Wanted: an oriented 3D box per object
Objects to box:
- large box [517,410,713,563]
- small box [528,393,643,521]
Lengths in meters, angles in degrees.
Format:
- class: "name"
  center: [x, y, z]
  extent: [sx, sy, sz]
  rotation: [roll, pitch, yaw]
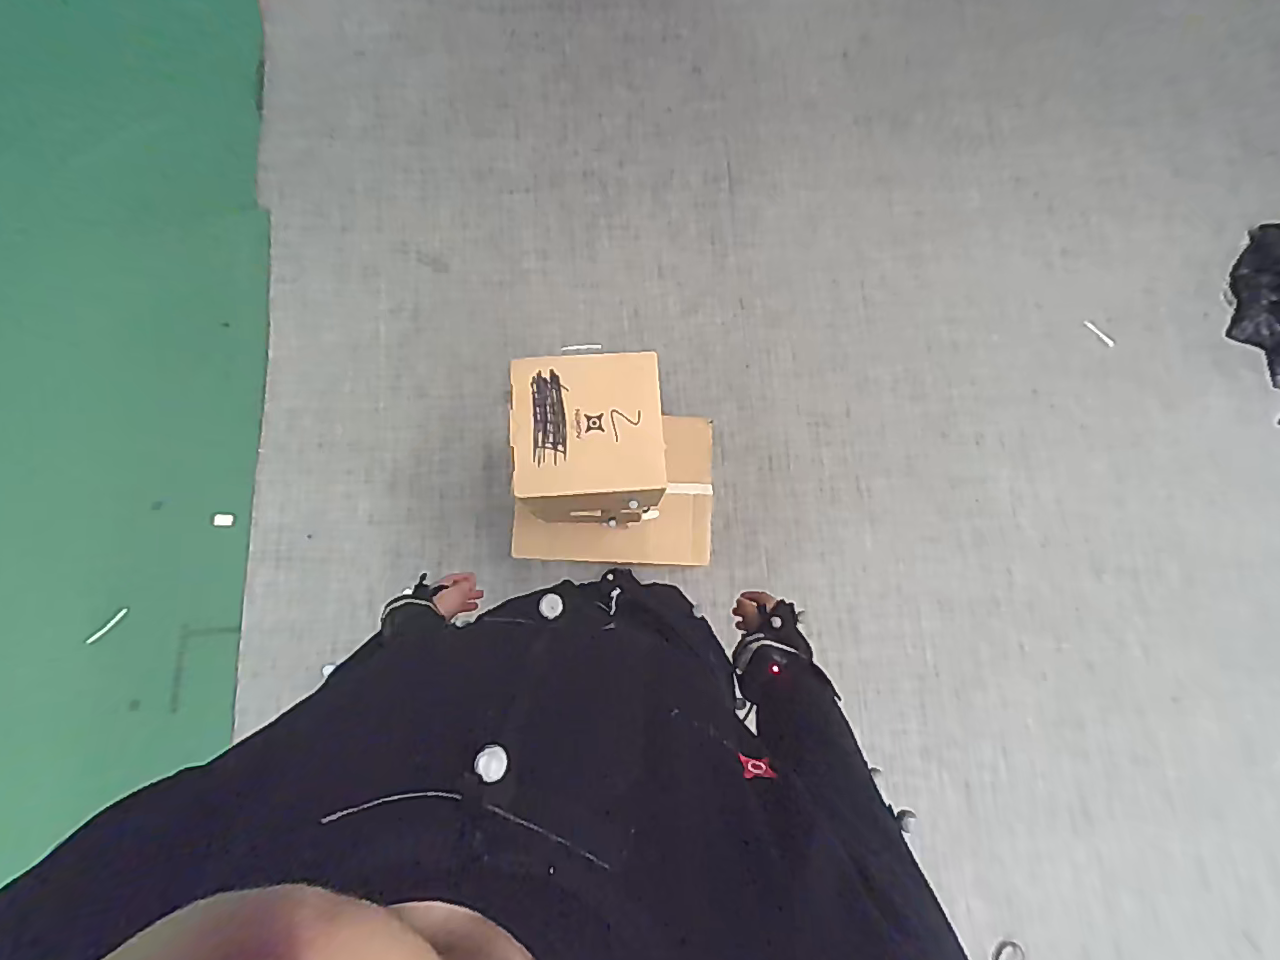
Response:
- class: "large box"
  center: [-0.053, 0.033, 1.257]
  extent: [0.408, 0.320, 0.320]
  rotation: [2, 81, -1]
- class: "small box"
  center: [-0.079, -0.028, 0.857]
  extent: [0.168, 0.176, 0.179]
  rotation: [0, 79, -2]
